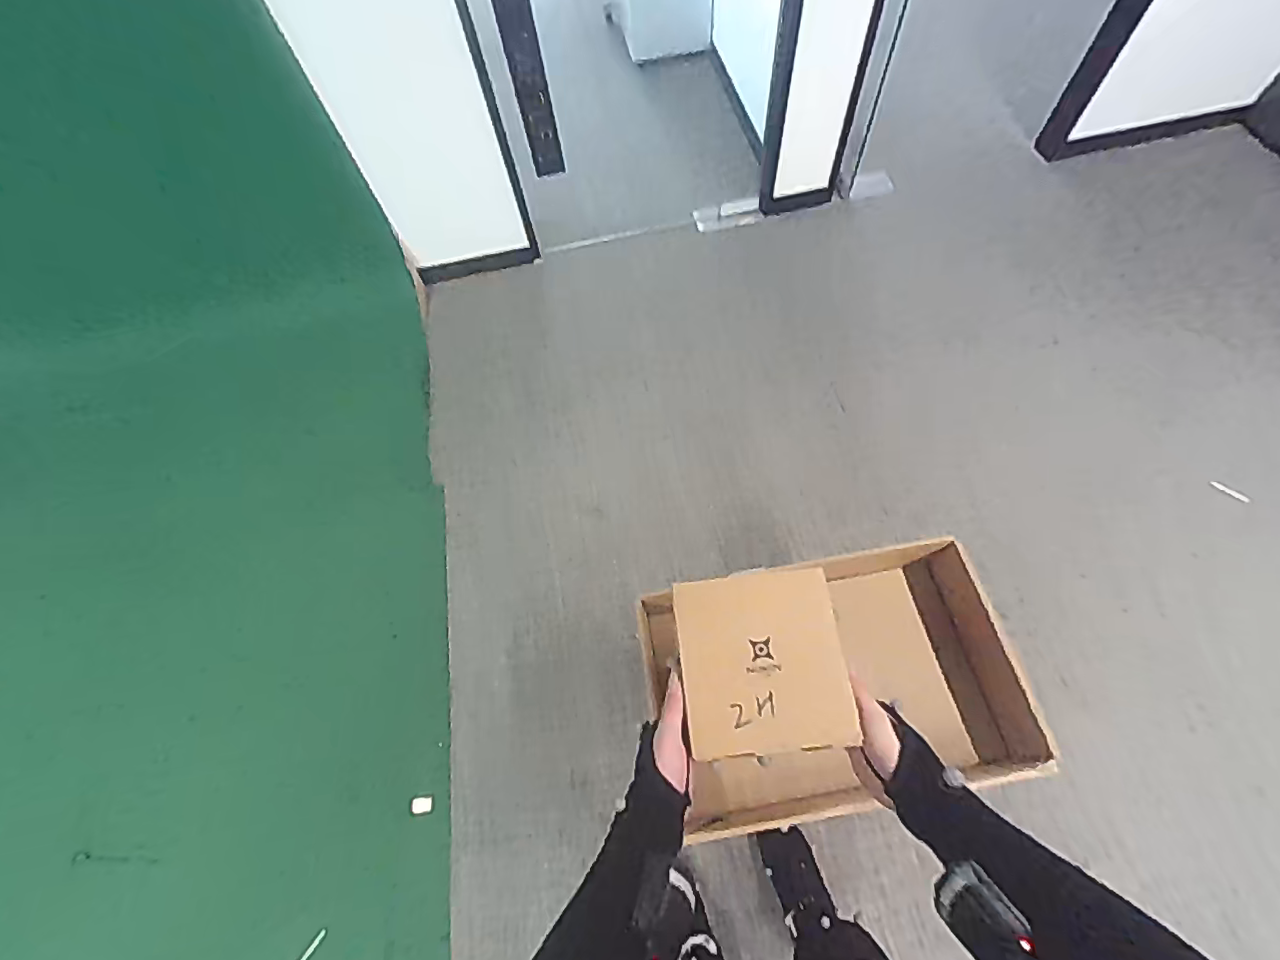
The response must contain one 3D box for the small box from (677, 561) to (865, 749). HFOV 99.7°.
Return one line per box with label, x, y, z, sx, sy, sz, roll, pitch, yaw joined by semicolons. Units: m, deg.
small box;0.131;0.205;0.619;0.168;0.176;0.179;-5;66;2
